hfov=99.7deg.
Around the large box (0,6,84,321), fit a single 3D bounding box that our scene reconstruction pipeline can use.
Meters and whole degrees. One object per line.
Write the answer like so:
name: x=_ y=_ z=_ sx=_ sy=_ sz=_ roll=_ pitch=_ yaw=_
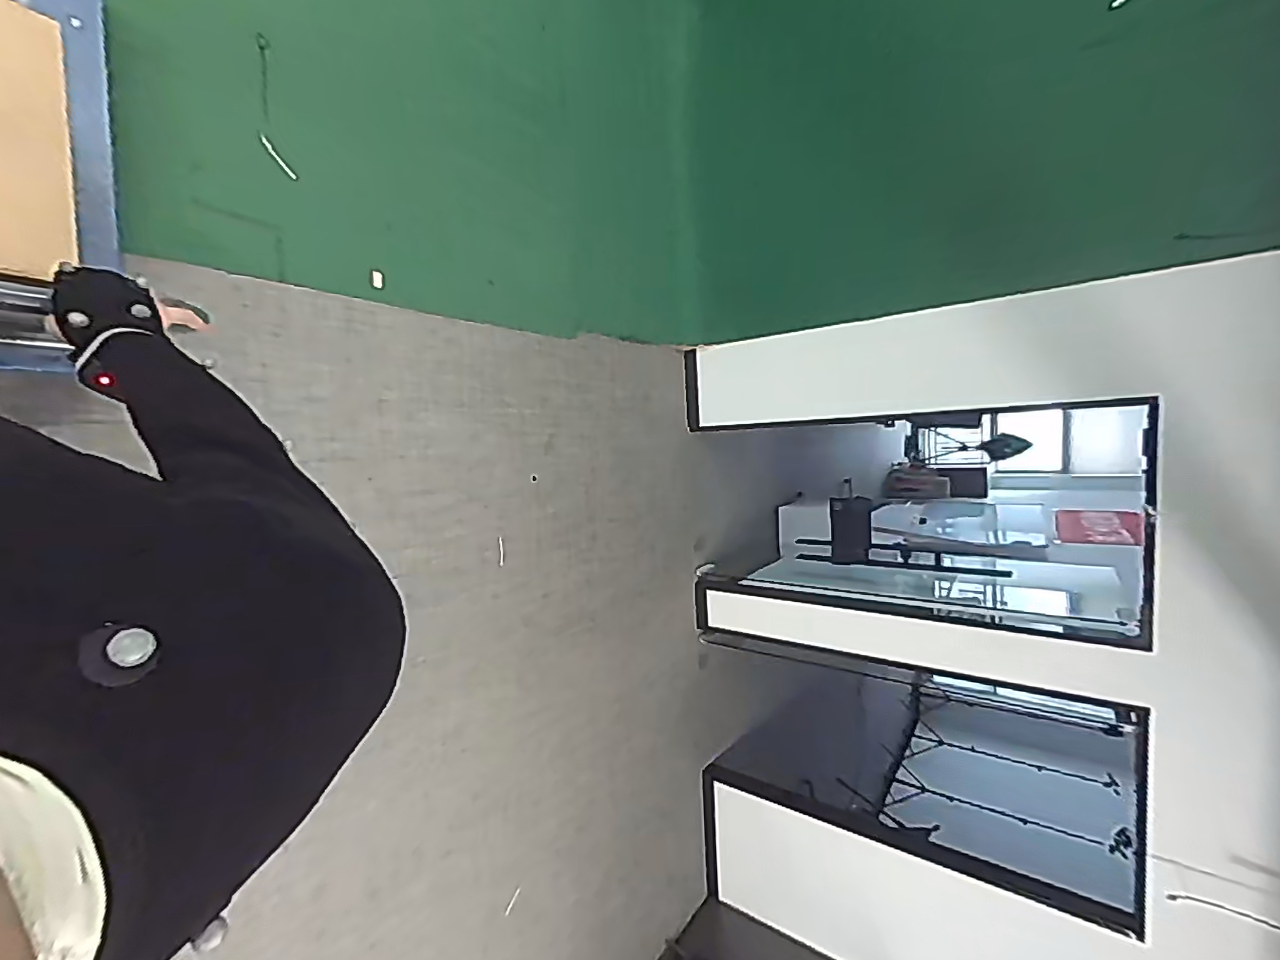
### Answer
large box: x=-1.103 y=-0.487 z=0.813 sx=0.320 sy=0.320 sz=0.408 roll=-6 pitch=94 yaw=-54
